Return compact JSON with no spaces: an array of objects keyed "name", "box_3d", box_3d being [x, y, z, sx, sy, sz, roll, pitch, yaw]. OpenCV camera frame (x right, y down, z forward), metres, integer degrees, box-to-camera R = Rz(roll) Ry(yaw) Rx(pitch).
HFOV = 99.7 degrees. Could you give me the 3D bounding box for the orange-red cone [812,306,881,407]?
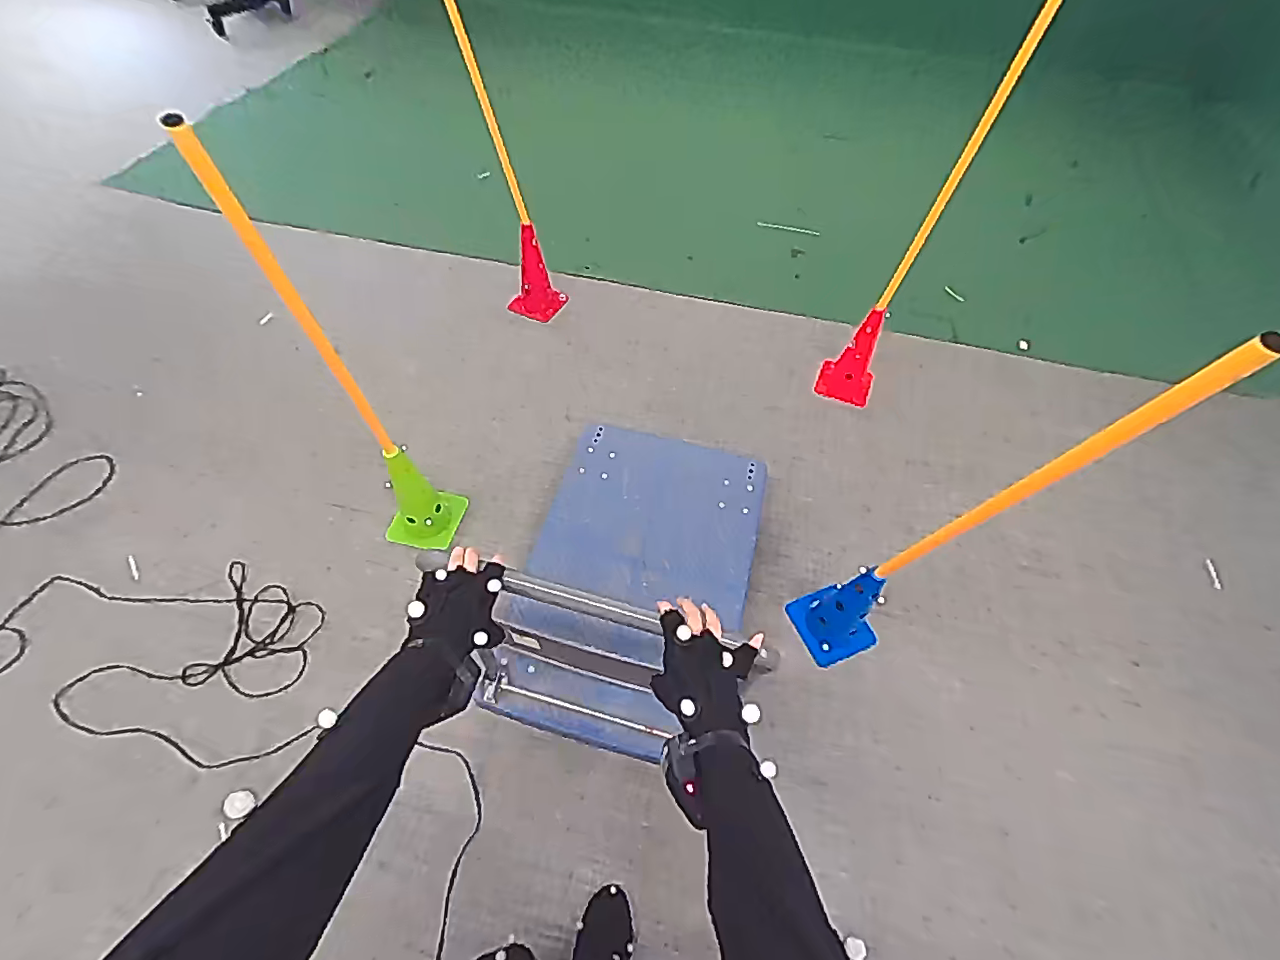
[{"name":"orange-red cone","box_3d":[0.781,-0.467,1.943,0.198,0.360,0.199,21,58,13]}]
